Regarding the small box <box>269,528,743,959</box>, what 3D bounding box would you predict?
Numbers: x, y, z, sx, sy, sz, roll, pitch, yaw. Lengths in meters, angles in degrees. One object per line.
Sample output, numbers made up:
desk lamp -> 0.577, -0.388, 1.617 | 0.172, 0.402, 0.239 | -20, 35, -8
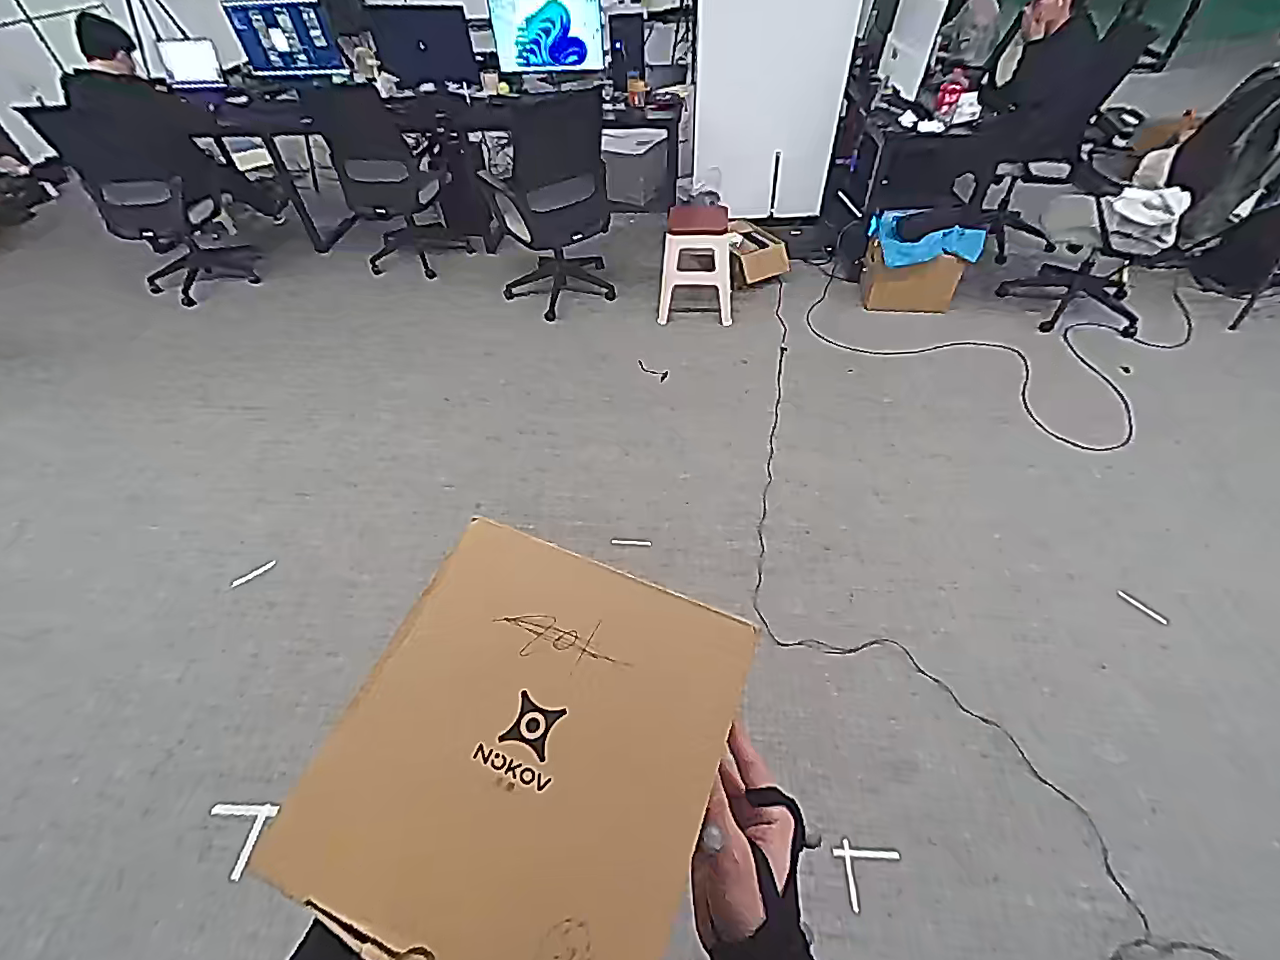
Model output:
small box -> -0.052, 0.163, 0.320 | 0.168, 0.176, 0.179 | 18, 58, 11
